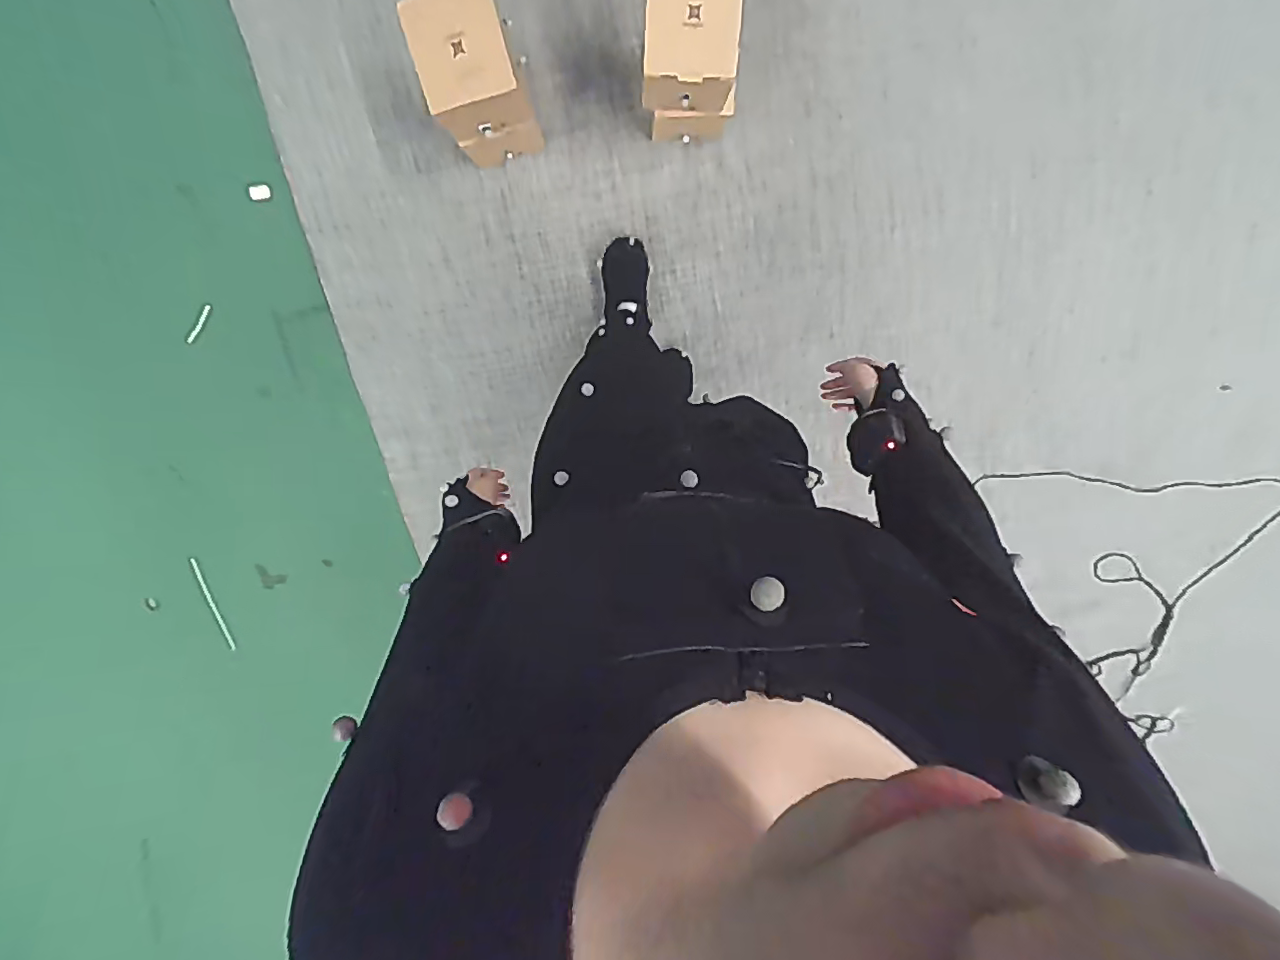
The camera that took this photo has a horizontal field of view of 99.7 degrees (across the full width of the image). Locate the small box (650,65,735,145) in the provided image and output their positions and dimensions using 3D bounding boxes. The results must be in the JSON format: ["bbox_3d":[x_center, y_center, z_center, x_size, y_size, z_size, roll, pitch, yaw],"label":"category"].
[{"bbox_3d":[0.106,-0.840,1.155,0.168,0.176,0.179,-1,107,0],"label":"small box"}]

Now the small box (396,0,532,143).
[{"bbox_3d":[-0.314,-0.766,1.004,0.168,0.176,0.179,-14,106,4],"label":"small box"}]

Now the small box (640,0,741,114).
[{"bbox_3d":[0.088,-0.802,0.996,0.168,0.176,0.179,3,107,-1],"label":"small box"}]

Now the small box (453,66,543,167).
[{"bbox_3d":[-0.321,-0.806,1.160,0.168,0.176,0.179,-15,106,4],"label":"small box"}]
